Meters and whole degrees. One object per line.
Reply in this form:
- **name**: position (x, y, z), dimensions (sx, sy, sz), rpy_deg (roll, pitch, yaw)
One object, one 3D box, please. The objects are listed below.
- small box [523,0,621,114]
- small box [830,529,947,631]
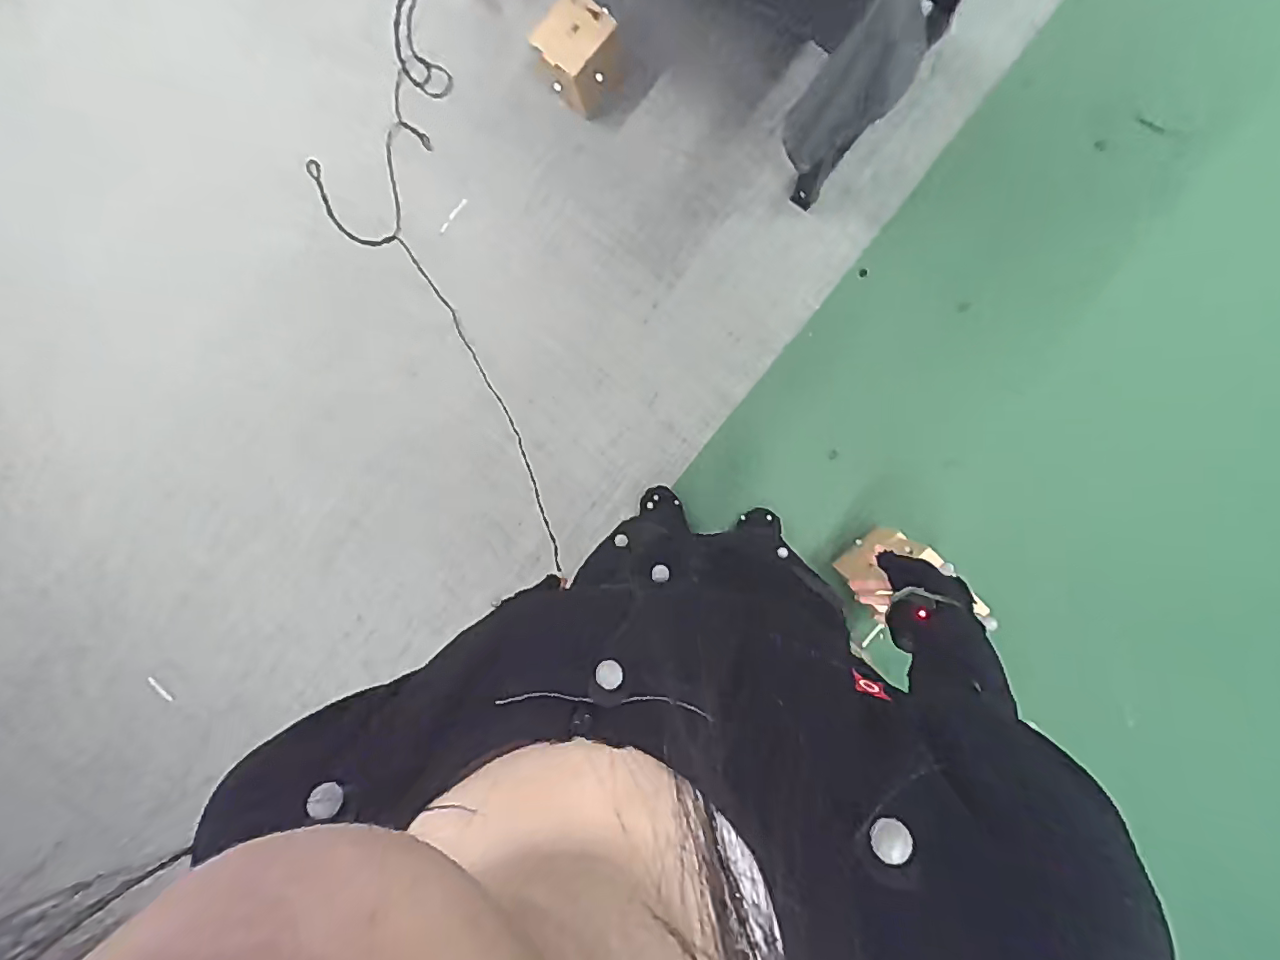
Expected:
- **small box**: position (-0.169, -1.120, 1.418), dimensions (0.168, 0.176, 0.179), rpy_deg (43, 96, 5)
- **small box**: position (0.602, 0.236, 1.332), dimensions (0.168, 0.176, 0.179), rpy_deg (-41, 84, 5)
